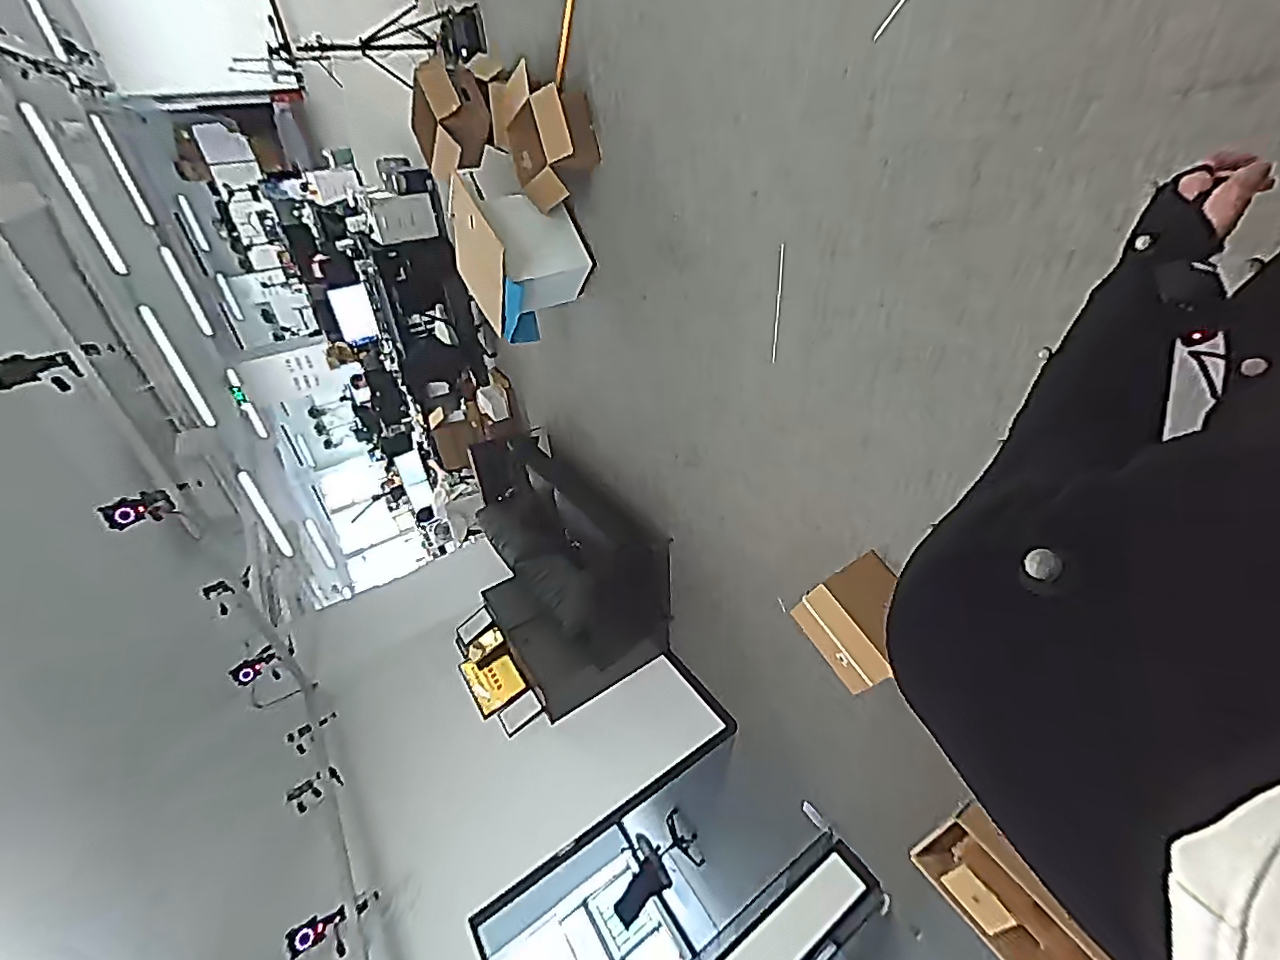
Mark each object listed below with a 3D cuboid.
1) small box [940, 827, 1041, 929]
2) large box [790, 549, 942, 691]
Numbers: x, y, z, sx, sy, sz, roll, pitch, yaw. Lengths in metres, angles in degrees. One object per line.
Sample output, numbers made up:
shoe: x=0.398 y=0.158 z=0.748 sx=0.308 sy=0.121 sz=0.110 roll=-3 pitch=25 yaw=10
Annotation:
small box: x=1.057 y=1.195 z=1.628 sx=0.168 sy=0.176 sz=0.179 roll=45 pitch=146 yaw=37
large box: x=0.902 y=0.563 z=2.191 sx=0.408 sy=0.320 sz=0.320 roll=53 pitch=152 yaw=23
